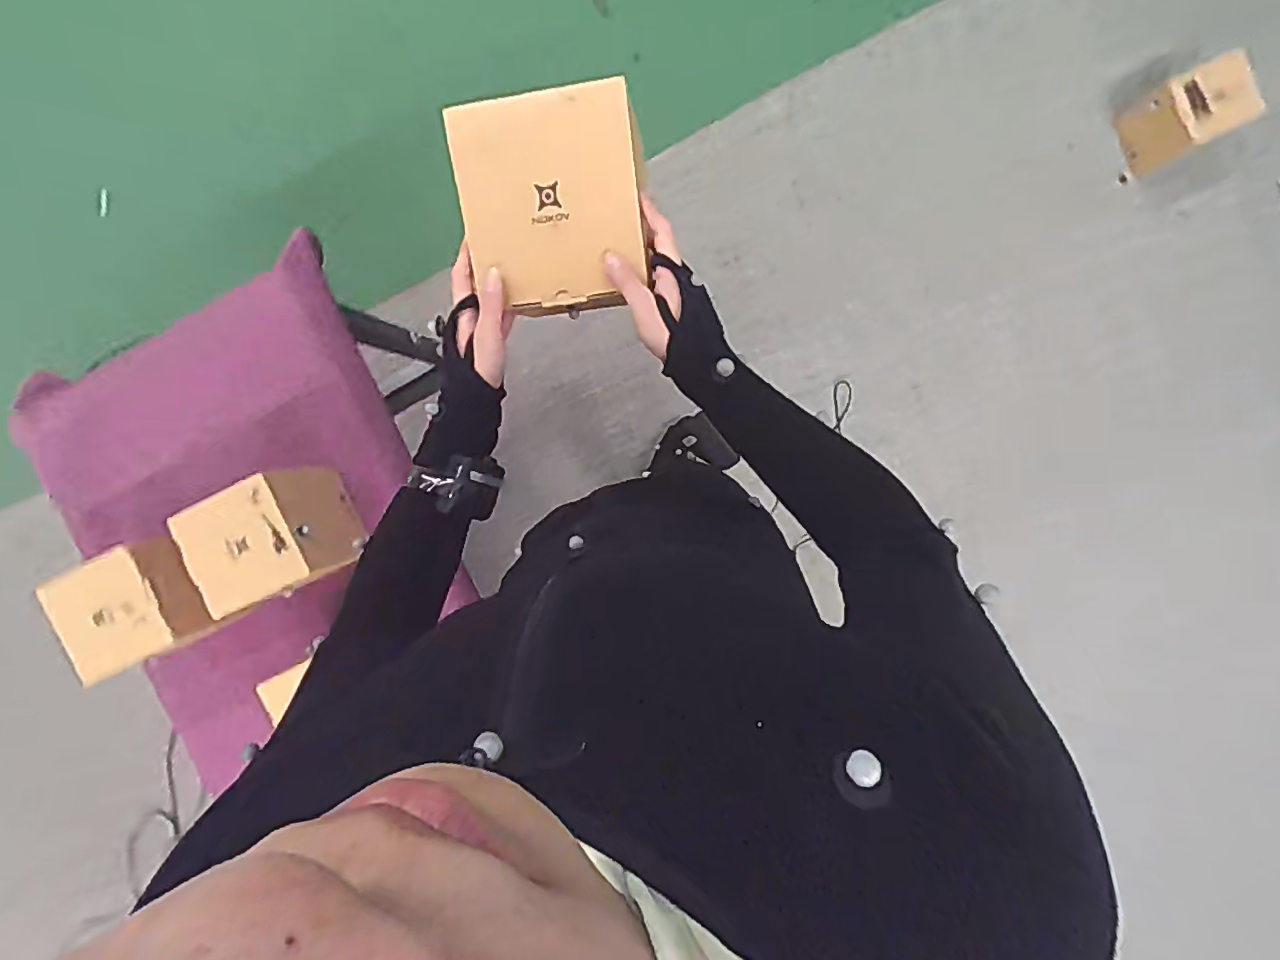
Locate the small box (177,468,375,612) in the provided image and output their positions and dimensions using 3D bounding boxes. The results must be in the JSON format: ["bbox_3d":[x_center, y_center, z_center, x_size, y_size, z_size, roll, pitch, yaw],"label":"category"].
[{"bbox_3d":[-0.581,0.089,0.886,0.179,0.176,0.168,-25,92,8],"label":"small box"}]

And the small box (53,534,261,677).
[{"bbox_3d":[-0.802,0.198,0.917,0.179,0.176,0.168,-25,92,7],"label":"small box"}]

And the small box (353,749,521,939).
[{"bbox_3d":[-0.319,0.587,0.896,0.179,0.176,0.168,-30,90,9],"label":"small box"}]

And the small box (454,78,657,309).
[{"bbox_3d":[-0.072,-0.281,0.572,0.168,0.176,0.179,-4,107,6],"label":"small box"}]
